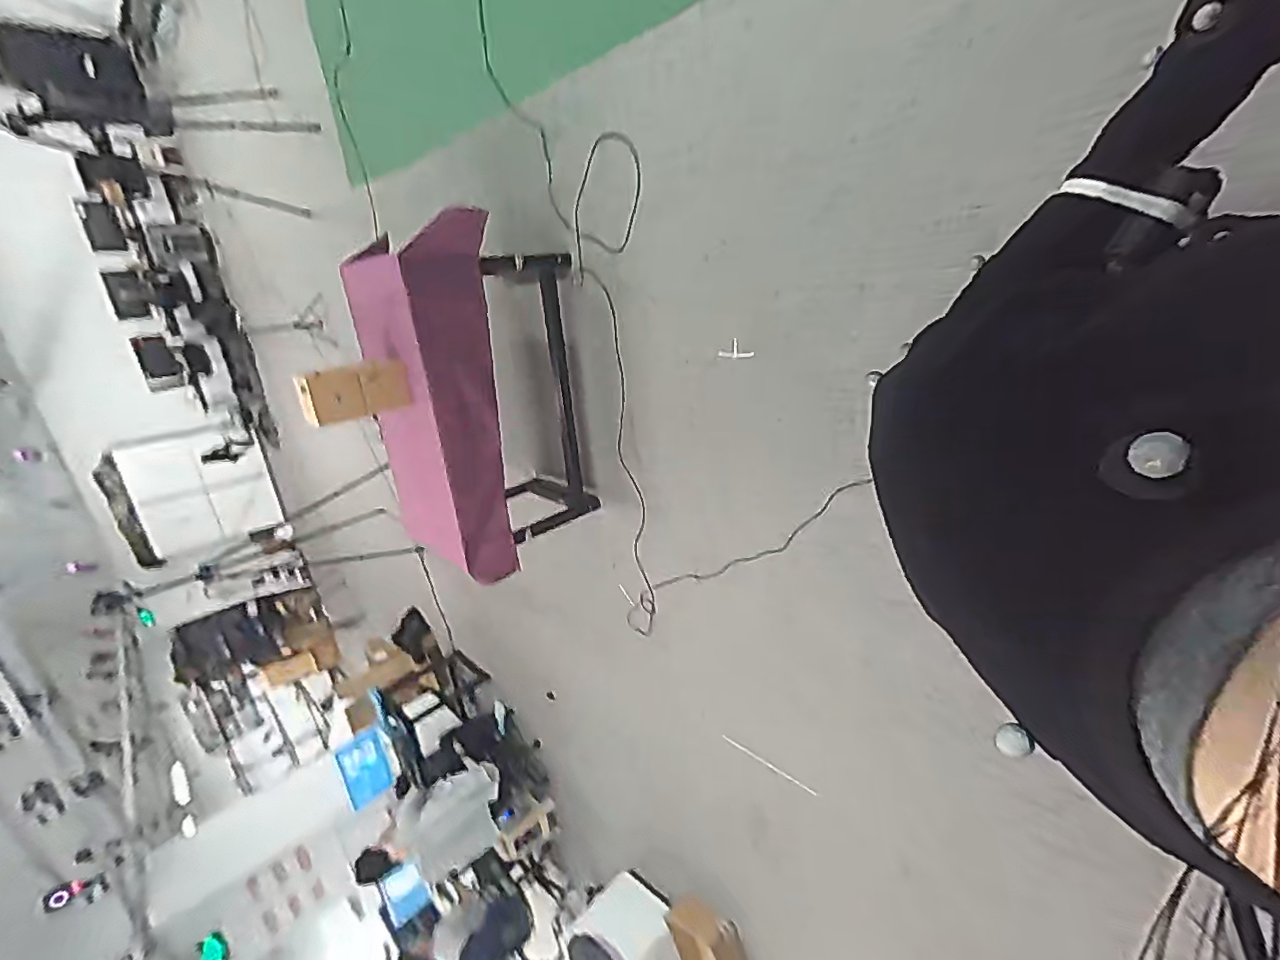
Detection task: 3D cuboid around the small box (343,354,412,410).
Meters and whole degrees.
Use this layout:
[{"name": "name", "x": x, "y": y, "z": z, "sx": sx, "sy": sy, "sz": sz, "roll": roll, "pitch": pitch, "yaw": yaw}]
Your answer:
[{"name": "small box", "x": -0.992, "y": -0.377, "z": 2.050, "sx": 0.168, "sy": 0.176, "sz": 0.179, "roll": 18, "pitch": 120, "yaw": 43}]
